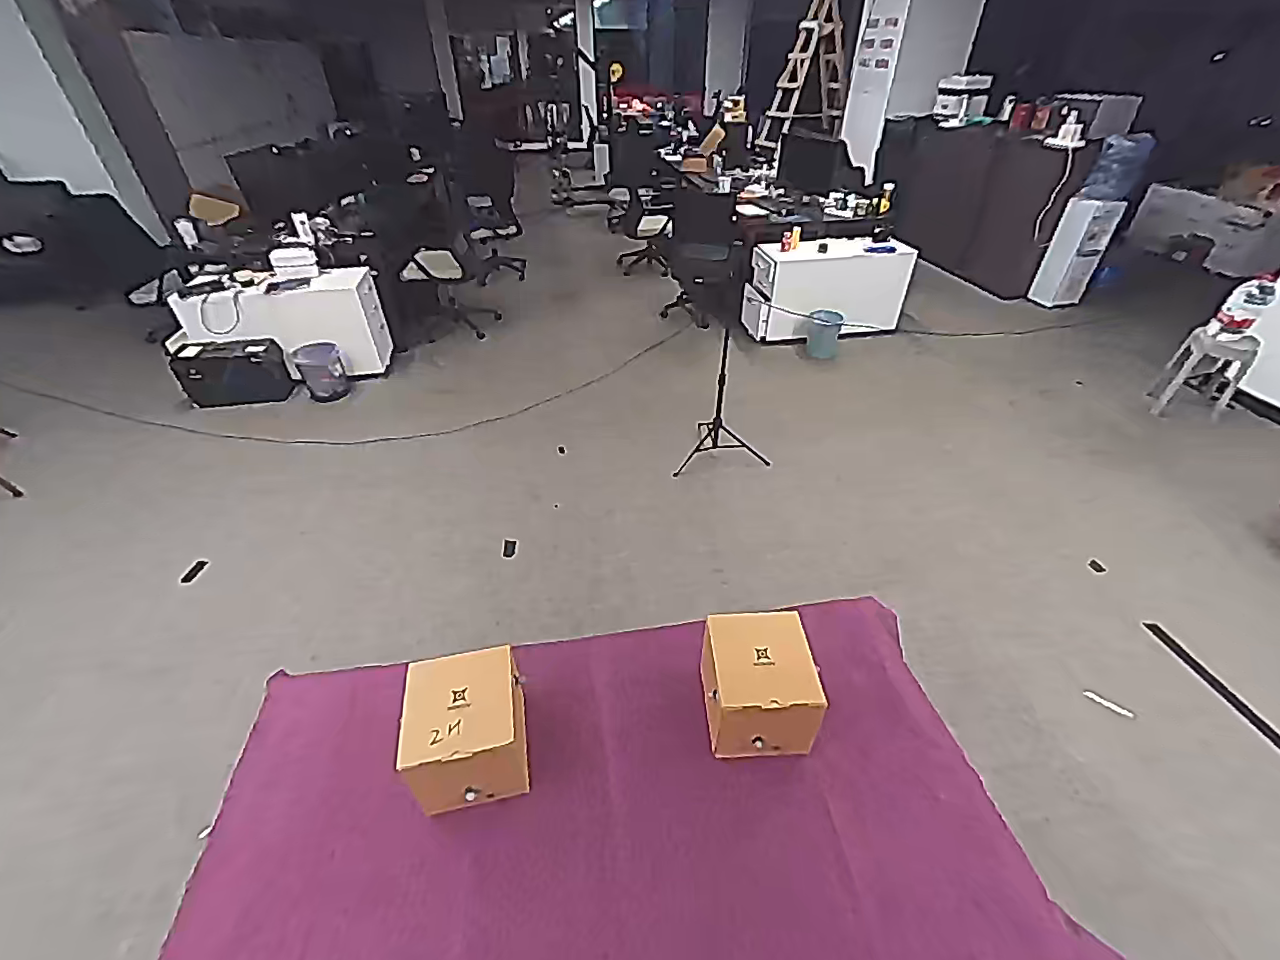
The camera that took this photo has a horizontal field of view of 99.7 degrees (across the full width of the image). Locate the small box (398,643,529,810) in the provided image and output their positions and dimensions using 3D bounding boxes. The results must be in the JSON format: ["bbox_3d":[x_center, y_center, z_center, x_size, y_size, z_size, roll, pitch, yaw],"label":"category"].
[{"bbox_3d":[-0.277,0.400,0.883,0.168,0.176,0.179,-8,39,-9],"label":"small box"}]

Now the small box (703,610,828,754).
[{"bbox_3d":[0.205,0.350,0.942,0.168,0.176,0.179,-2,39,-2],"label":"small box"}]
